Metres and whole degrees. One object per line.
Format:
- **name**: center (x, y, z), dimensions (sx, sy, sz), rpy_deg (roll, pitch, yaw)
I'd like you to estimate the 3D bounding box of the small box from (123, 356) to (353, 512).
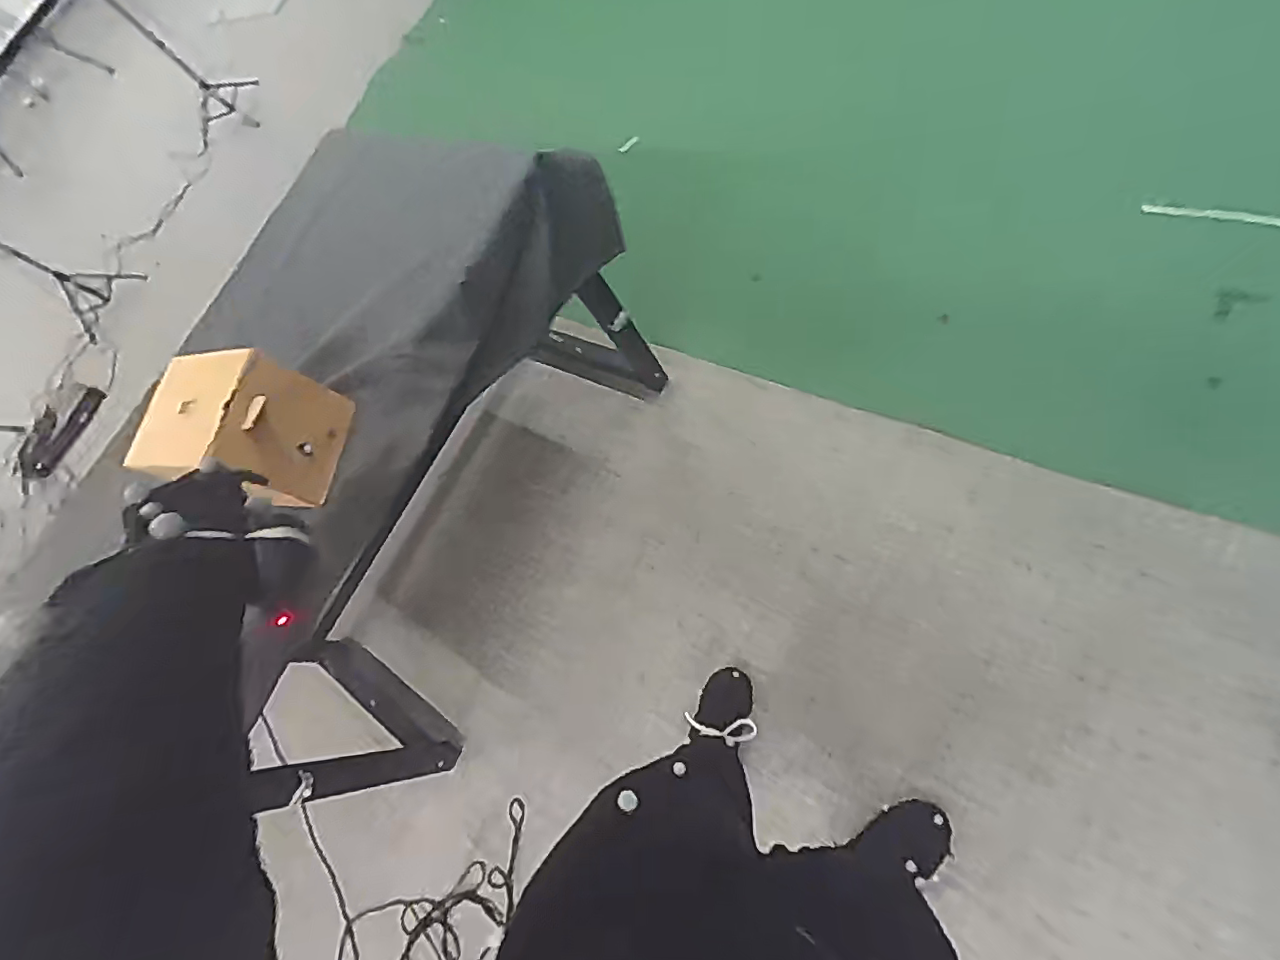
- **small box**: center (-0.556, -0.056, 0.767), dimensions (0.179, 0.176, 0.168), rpy_deg (1, 71, 22)
